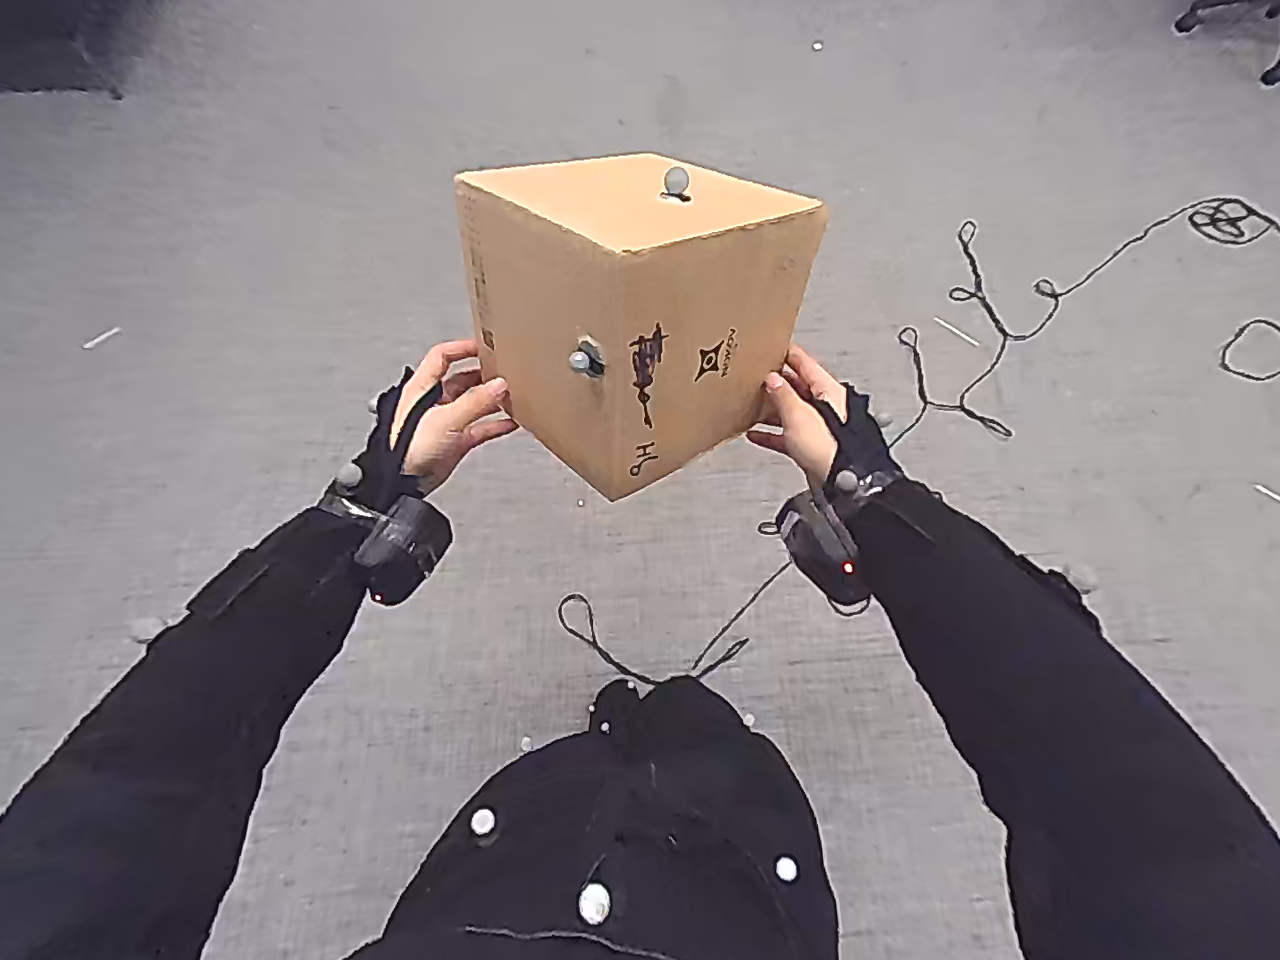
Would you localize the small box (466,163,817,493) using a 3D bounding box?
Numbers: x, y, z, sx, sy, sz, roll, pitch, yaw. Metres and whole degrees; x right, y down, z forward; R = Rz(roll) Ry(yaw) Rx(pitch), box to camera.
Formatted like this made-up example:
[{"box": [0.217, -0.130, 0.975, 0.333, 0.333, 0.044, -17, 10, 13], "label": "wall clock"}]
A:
[{"box": [-0.003, -0.127, 0.409, 0.179, 0.168, 0.176, -30, 51, -33], "label": "small box"}]
